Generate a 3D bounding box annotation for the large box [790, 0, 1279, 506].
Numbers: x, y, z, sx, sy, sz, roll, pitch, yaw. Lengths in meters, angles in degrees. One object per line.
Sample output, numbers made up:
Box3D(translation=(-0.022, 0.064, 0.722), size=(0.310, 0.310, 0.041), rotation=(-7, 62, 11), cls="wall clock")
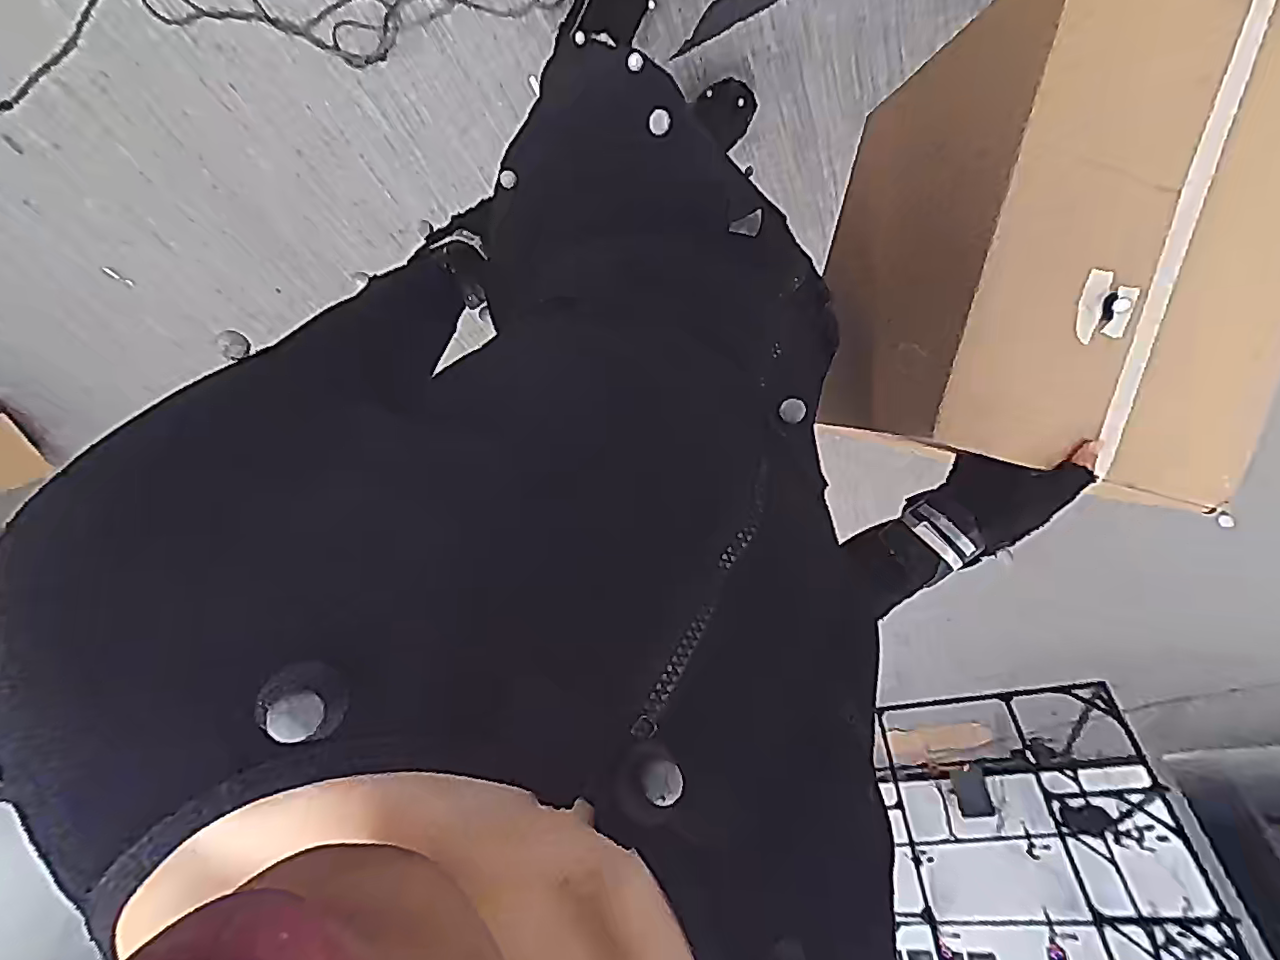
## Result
Box3D(translation=(0.409, -0.222, 0.598), size=(0.320, 0.320, 0.408), rotation=(12, 98, -9), cls="large box")
